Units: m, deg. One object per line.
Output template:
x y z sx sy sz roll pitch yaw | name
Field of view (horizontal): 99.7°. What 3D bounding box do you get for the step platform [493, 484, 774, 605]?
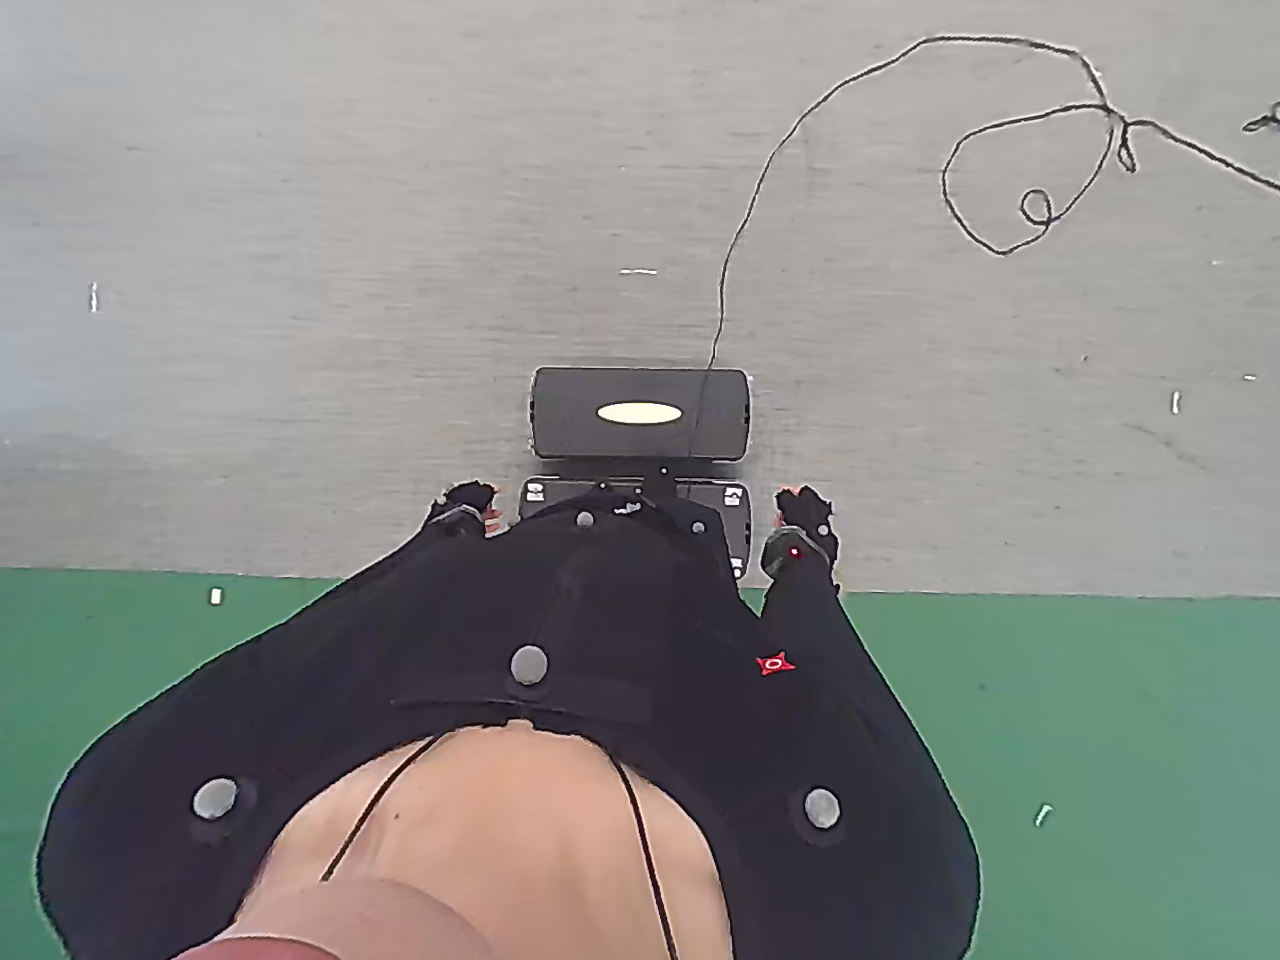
-0.015 0.158 1.400 0.684 0.204 0.286 1 89 0 | step platform
